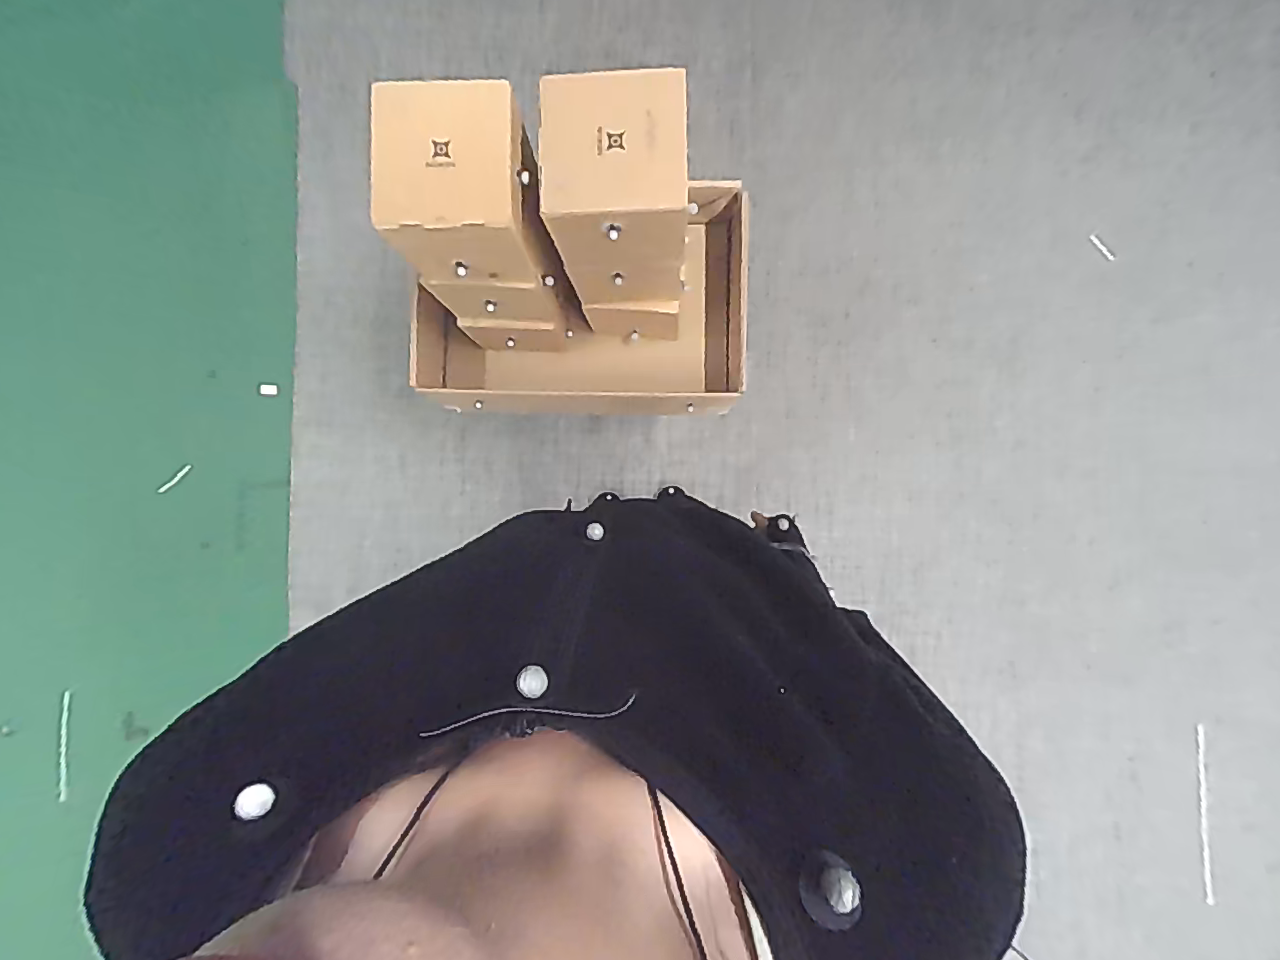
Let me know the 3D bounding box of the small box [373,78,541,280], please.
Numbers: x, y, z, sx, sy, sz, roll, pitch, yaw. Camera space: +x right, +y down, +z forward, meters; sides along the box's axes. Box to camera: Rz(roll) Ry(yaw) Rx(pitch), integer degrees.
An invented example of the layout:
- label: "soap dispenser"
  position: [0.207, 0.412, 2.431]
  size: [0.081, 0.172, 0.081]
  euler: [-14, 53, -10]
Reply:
- label: "small box"
  position: [-0.228, -0.383, 0.712]
  size: [0.168, 0.176, 0.179]
  euler: [-1, 89, 1]
